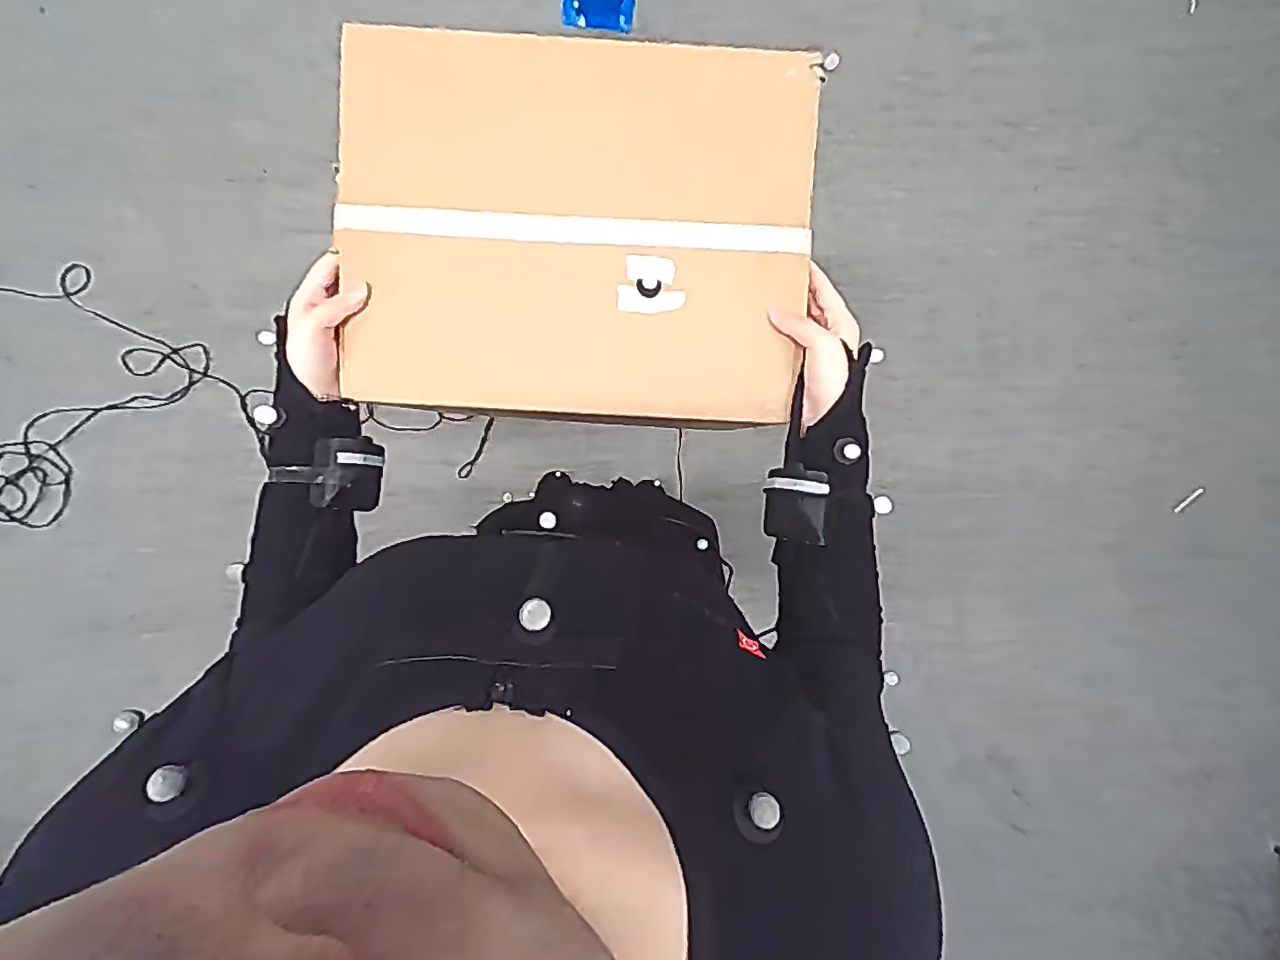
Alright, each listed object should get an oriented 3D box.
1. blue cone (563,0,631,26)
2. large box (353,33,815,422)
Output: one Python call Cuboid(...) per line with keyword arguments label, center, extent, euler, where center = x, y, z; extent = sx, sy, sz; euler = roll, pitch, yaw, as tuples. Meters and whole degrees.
Cuboid(label="blue cone", center=(-0.118, -1.381, 1.358), extent=(0.193, 0.380, 0.192), euler=(8, 89, 0))
Cuboid(label="large box", center=(-0.056, -0.232, 0.623), extent=(0.408, 0.320, 0.320), euler=(3, 95, -2))
